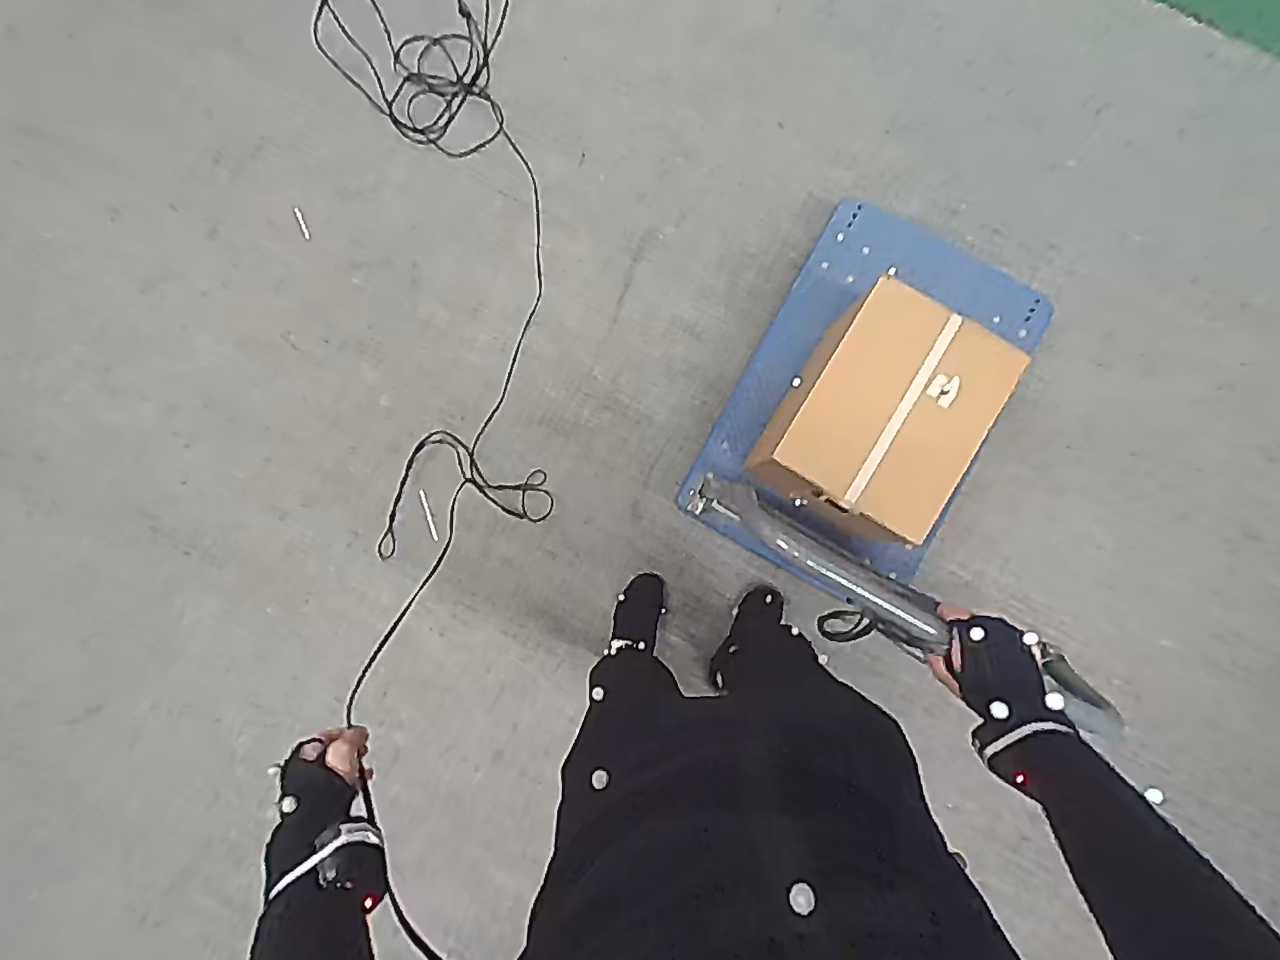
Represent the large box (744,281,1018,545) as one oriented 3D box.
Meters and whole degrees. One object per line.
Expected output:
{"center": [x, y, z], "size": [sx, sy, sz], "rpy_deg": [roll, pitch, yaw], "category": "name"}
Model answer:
{"center": [0.466, -0.115, 1.136], "size": [0.320, 0.320, 0.408], "rpy_deg": [32, 87, 1], "category": "large box"}
